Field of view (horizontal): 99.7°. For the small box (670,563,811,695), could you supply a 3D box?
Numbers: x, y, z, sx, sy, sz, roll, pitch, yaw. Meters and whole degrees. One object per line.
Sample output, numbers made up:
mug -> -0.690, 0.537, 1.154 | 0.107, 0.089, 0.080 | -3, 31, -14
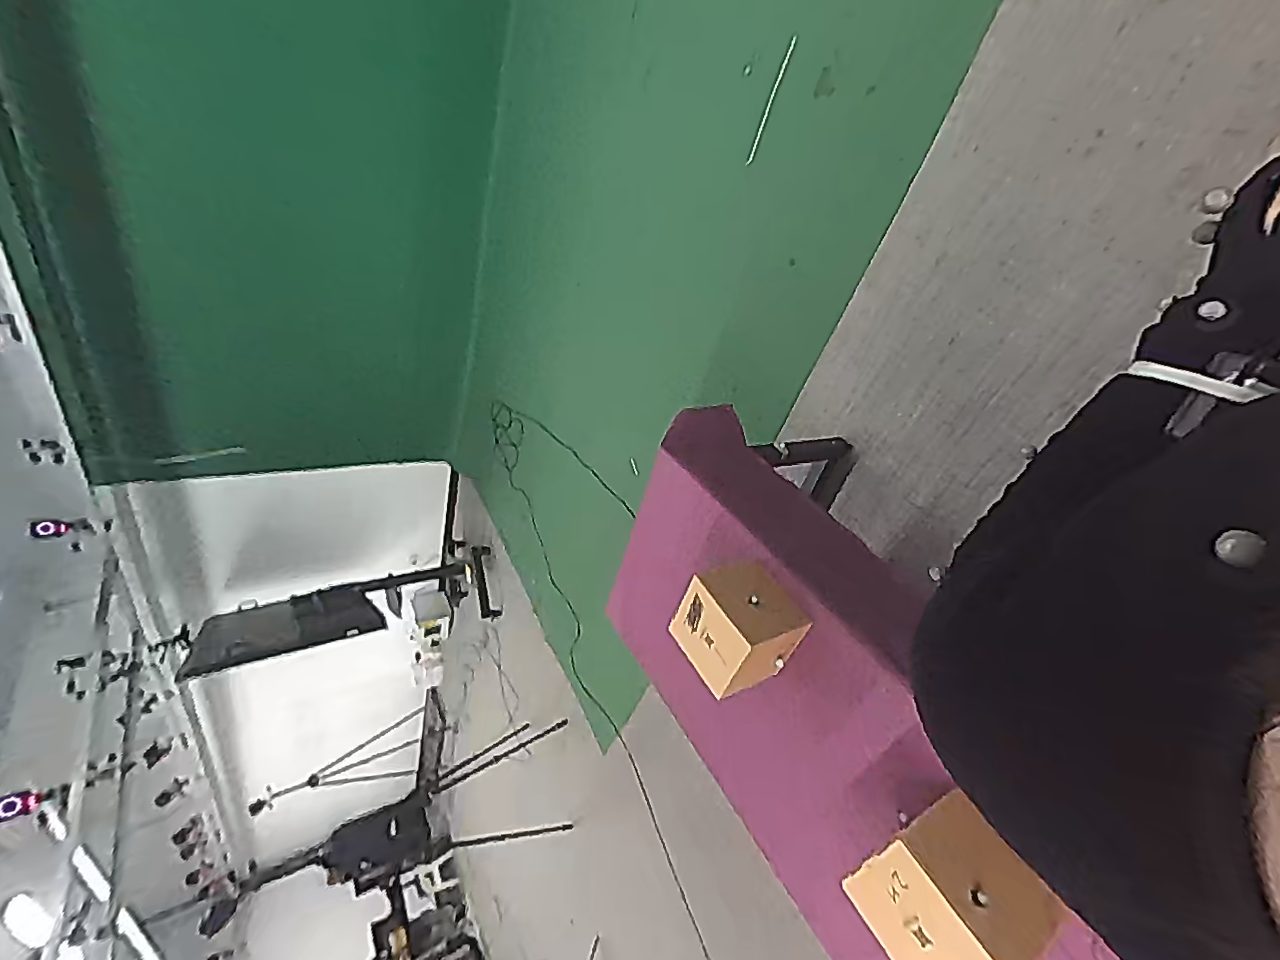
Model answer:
small box -> 0.194, 0.280, 1.060 | 0.179, 0.176, 0.168 | 50, 134, 37

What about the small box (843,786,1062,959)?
small box -> 0.437, 0.579, 0.763 | 0.179, 0.176, 0.168 | 51, 135, 37
